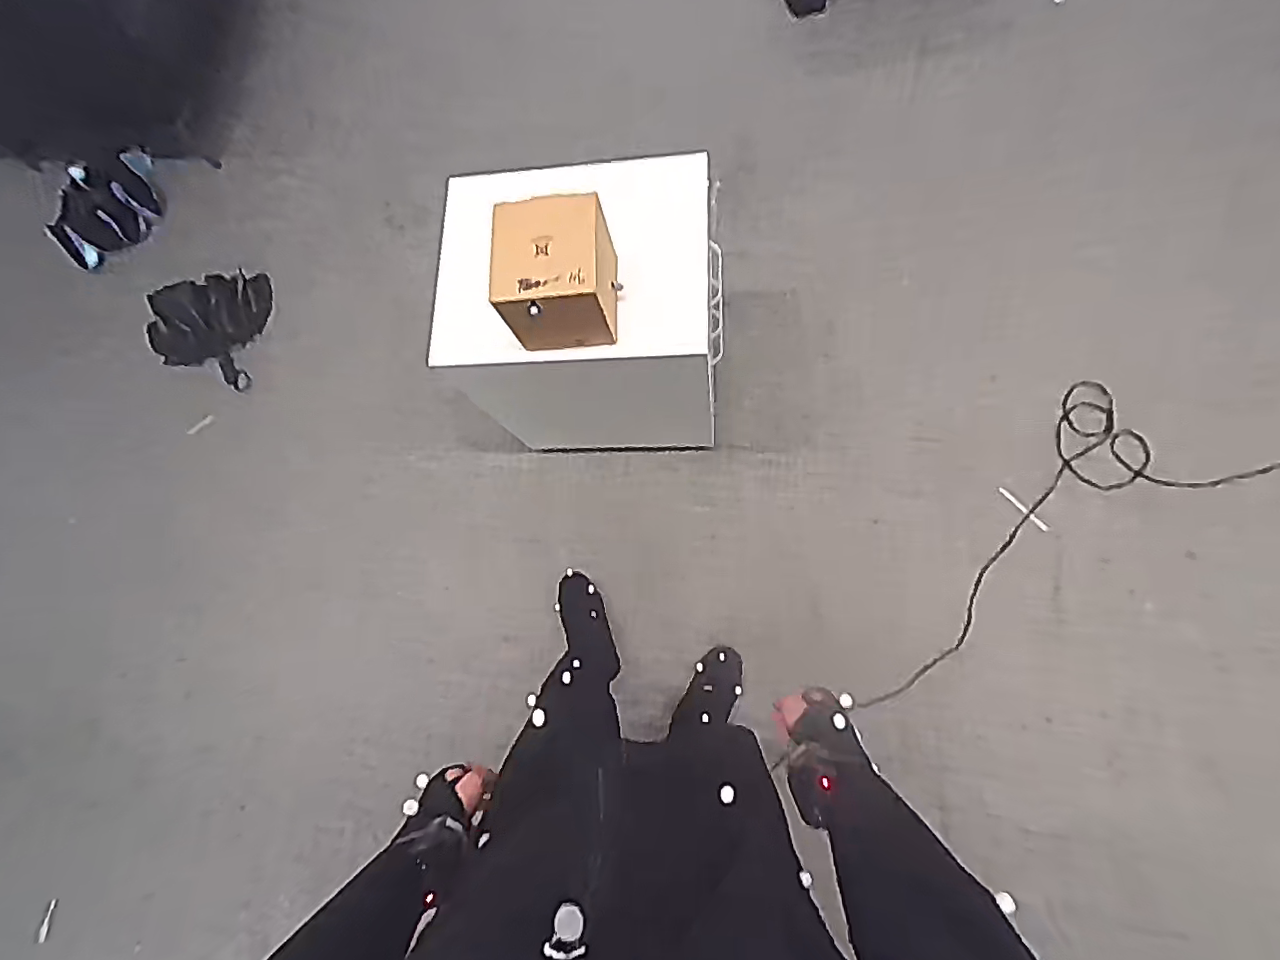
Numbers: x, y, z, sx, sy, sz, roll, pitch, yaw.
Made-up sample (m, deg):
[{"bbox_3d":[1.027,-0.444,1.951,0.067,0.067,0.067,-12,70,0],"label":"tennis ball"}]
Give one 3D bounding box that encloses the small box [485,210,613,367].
[{"bbox_3d":[-0.142,-0.308,0.896,0.168,0.176,0.179,-4,74,8],"label":"small box"}]
